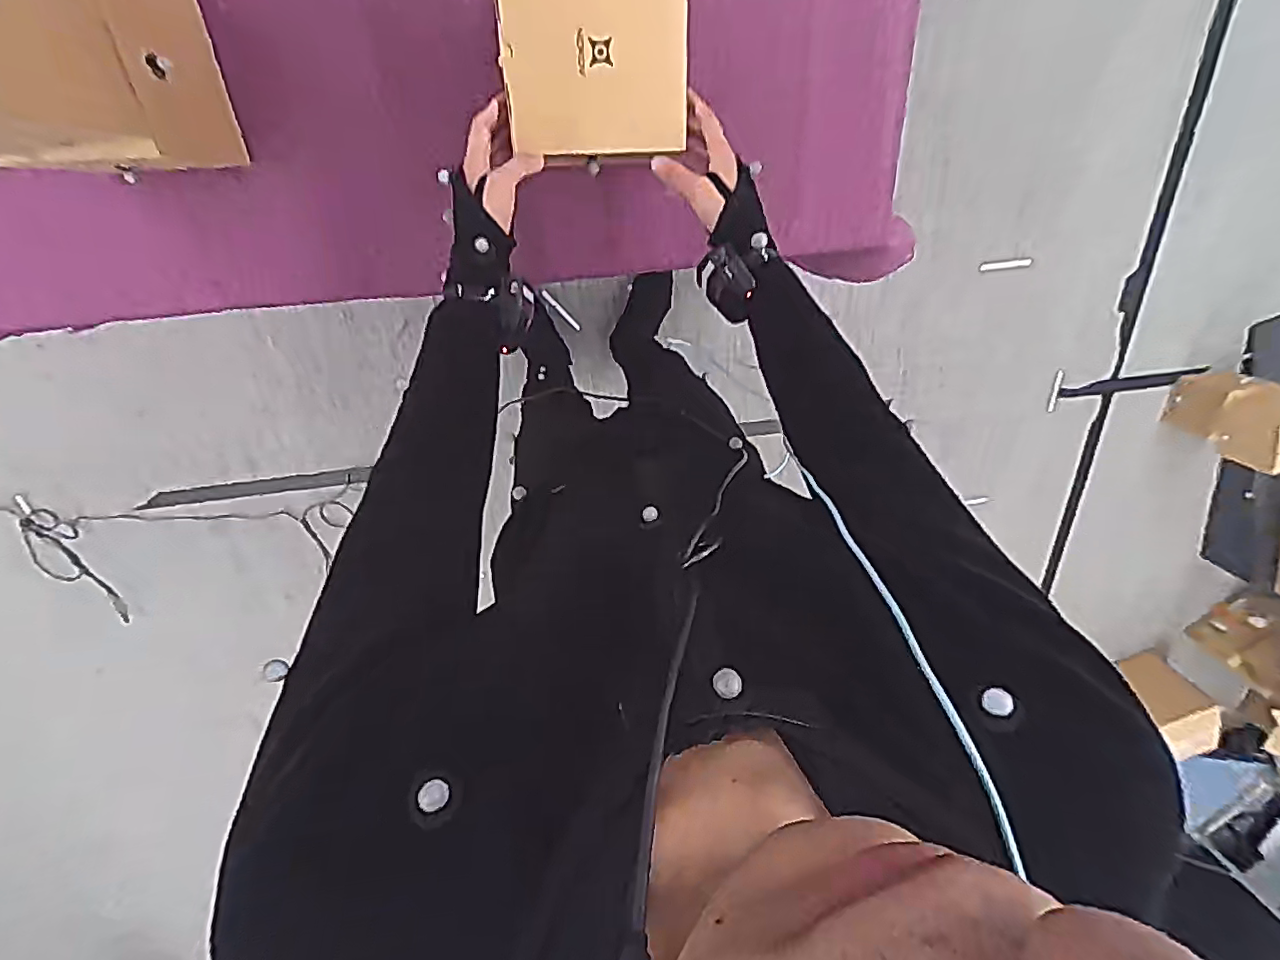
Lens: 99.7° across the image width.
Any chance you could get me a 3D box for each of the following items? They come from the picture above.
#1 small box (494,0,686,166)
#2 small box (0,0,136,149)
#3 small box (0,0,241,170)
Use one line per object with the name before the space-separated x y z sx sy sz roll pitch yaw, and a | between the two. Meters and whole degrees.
small box | -0.053 -0.435 0.575 0.179 0.176 0.168 -4 118 -4
small box | -0.521 -0.337 0.372 0.168 0.176 0.179 -9 118 -3
small box | -0.536 -0.402 0.523 0.168 0.176 0.179 -6 118 -6
